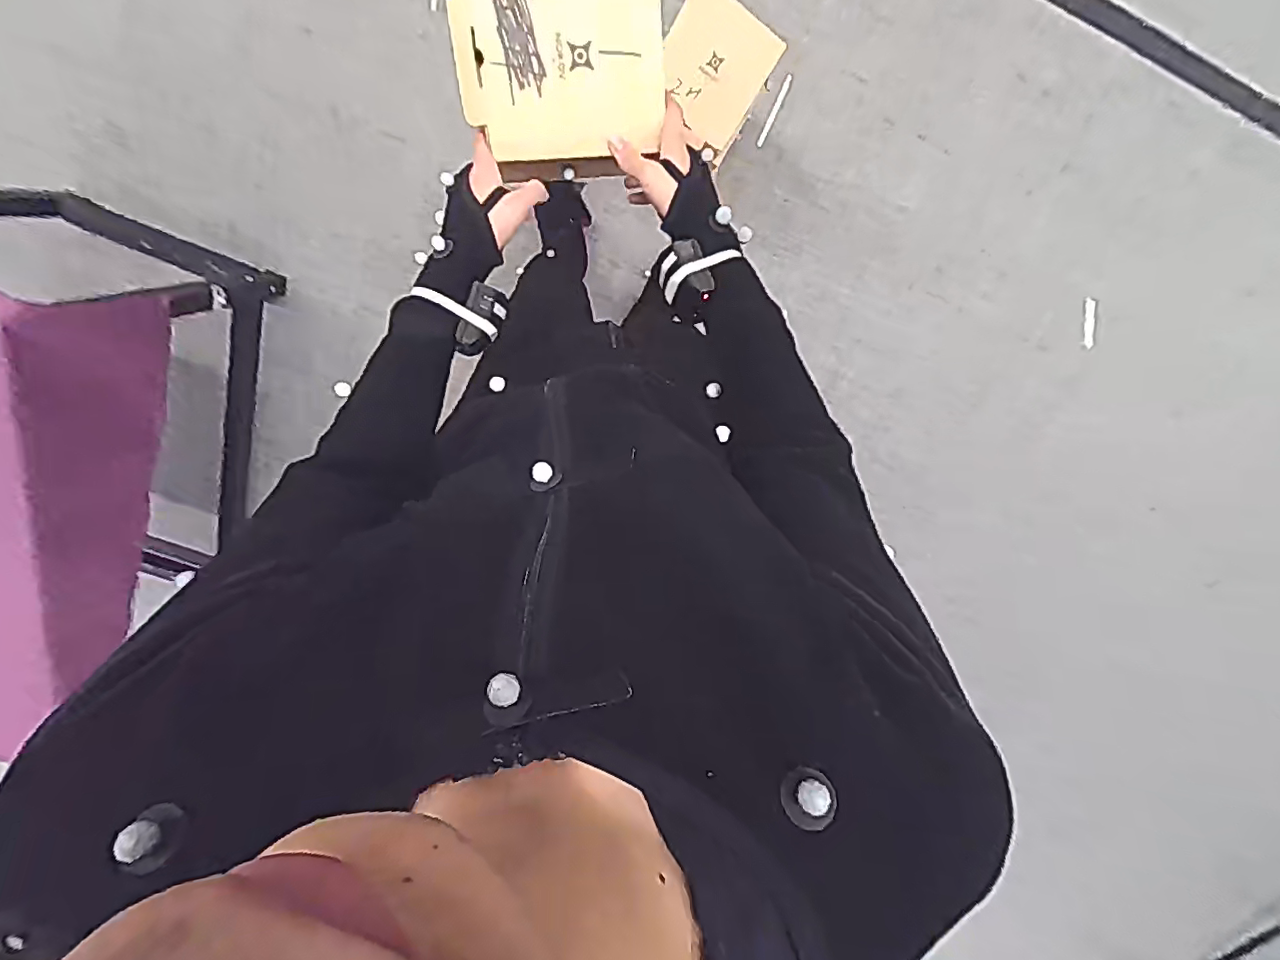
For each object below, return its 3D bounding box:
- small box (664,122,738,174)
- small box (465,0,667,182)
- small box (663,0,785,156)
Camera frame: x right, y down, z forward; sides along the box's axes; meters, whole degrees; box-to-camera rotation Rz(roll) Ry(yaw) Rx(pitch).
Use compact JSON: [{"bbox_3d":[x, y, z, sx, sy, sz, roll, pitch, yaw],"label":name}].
[{"bbox_3d":[0.132,-0.818,1.220,0.168,0.176,0.179,26,115,-10],"label":"small box"},{"bbox_3d":[-0.077,-0.418,0.568,0.179,0.176,0.168,-8,114,-8],"label":"small box"},{"bbox_3d":[0.113,-0.686,0.917,0.168,0.176,0.179,32,114,-13],"label":"small box"}]
